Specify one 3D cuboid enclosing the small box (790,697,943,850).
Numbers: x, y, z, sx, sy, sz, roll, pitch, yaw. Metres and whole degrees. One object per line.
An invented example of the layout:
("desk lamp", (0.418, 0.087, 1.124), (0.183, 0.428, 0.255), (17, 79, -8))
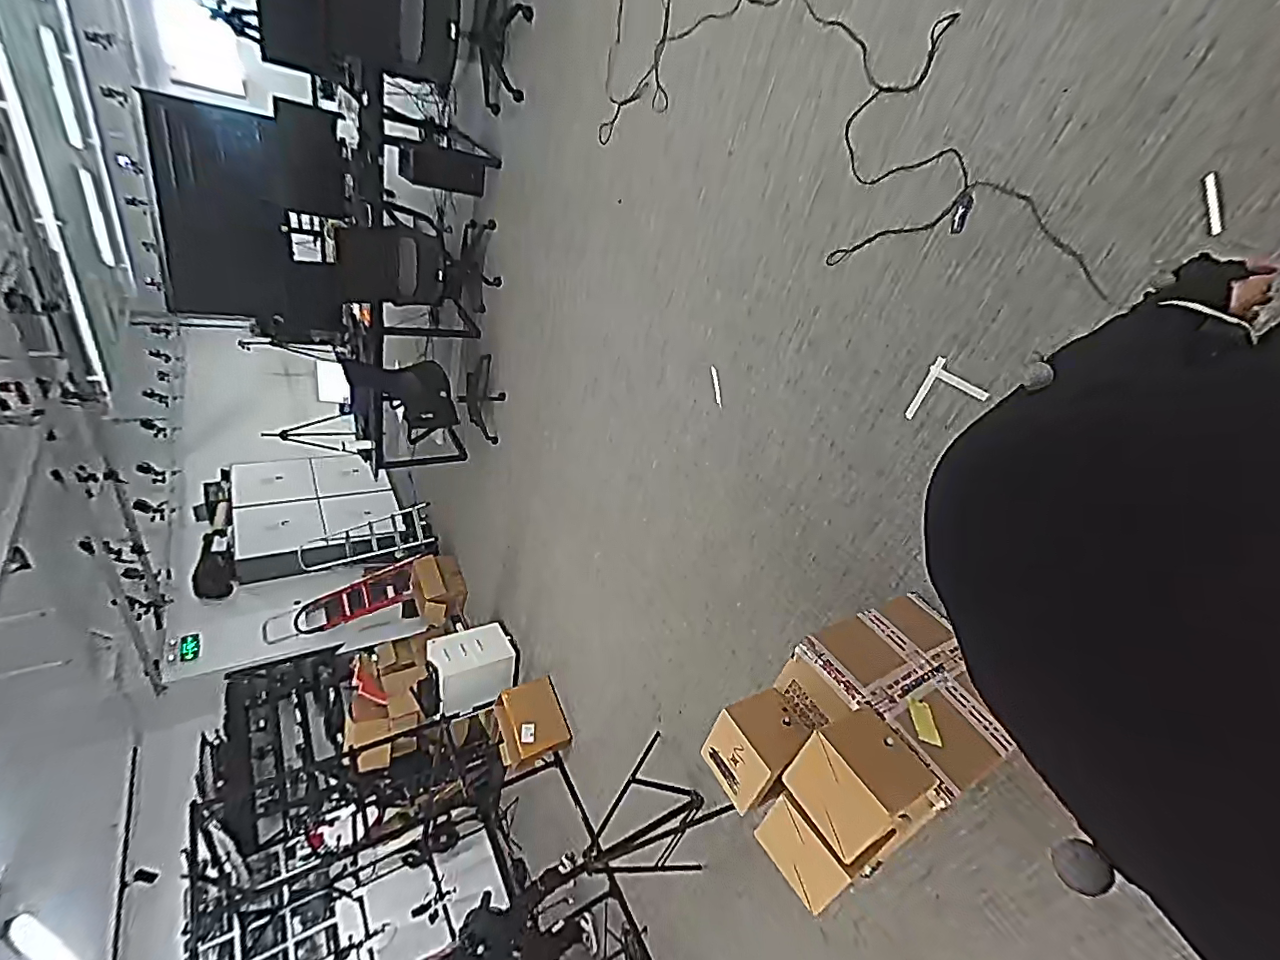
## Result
("small box", (0.426, 0.562, 1.039), (0.179, 0.176, 0.168), (47, 131, 40))
